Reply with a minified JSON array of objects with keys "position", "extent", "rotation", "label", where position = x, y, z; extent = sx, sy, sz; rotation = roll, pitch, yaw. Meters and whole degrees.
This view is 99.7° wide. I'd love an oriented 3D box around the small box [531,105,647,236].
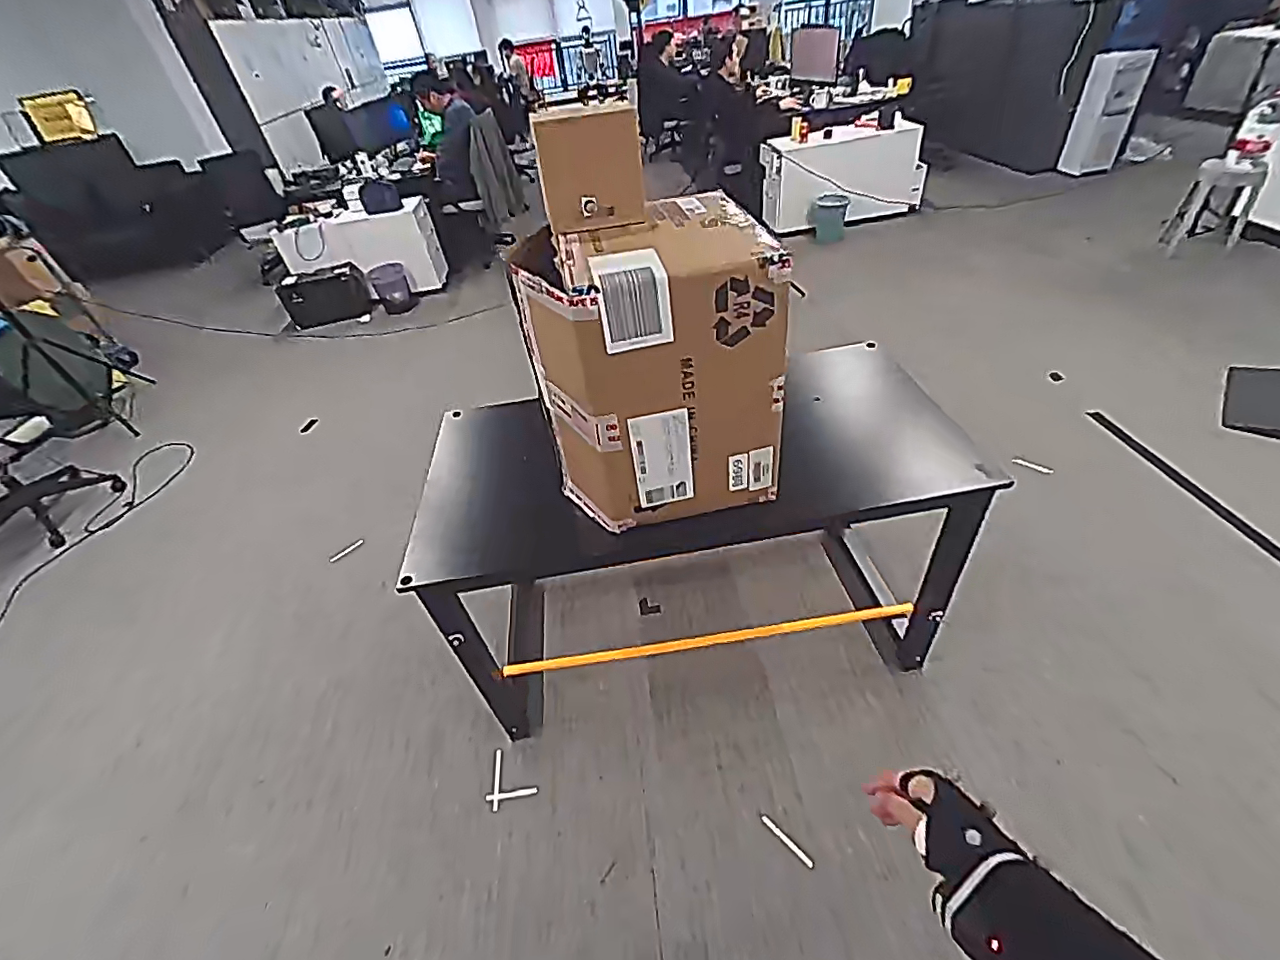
[{"position":[-0.090,-0.540,0.945],"extent":[0.168,0.176,0.179],"rotation":[-12,39,-5],"label":"small box"}]
